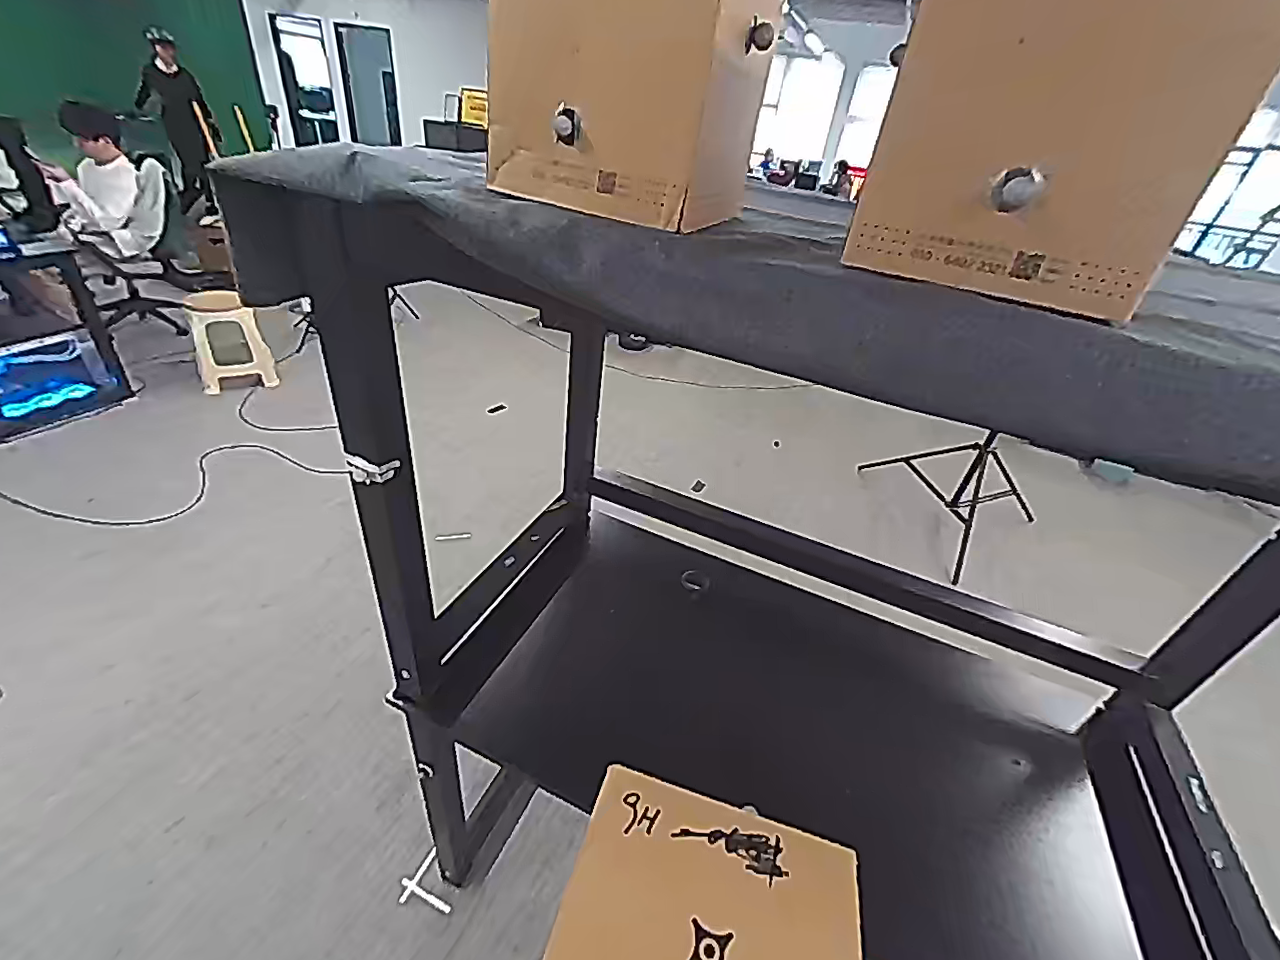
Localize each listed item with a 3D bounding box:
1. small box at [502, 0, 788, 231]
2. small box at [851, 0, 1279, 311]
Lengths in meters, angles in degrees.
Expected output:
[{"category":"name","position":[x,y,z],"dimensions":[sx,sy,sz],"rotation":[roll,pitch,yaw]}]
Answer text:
[{"category":"small box","position":[0.002,-0.309,0.429],"dimensions":[0.168,0.176,0.179],"rotation":[19,34,14]},{"category":"small box","position":[0.251,-0.225,0.354],"dimensions":[0.168,0.176,0.179],"rotation":[19,33,16]}]
